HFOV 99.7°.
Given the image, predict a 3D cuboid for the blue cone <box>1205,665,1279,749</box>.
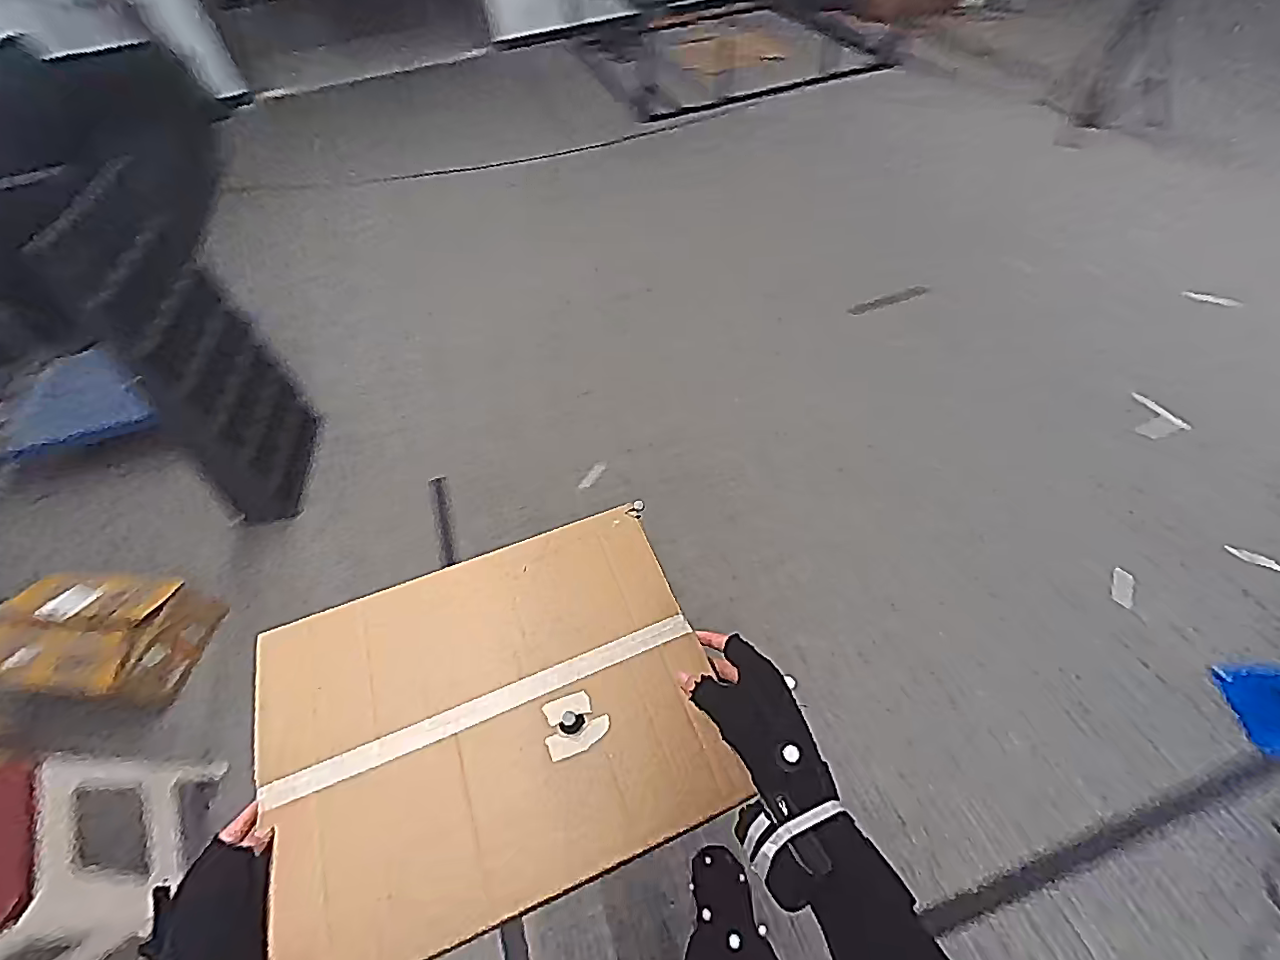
[{"bbox_3d":[1.486,0.438,1.163,0.192,0.380,0.193,-2,51,6],"label":"blue cone"}]
